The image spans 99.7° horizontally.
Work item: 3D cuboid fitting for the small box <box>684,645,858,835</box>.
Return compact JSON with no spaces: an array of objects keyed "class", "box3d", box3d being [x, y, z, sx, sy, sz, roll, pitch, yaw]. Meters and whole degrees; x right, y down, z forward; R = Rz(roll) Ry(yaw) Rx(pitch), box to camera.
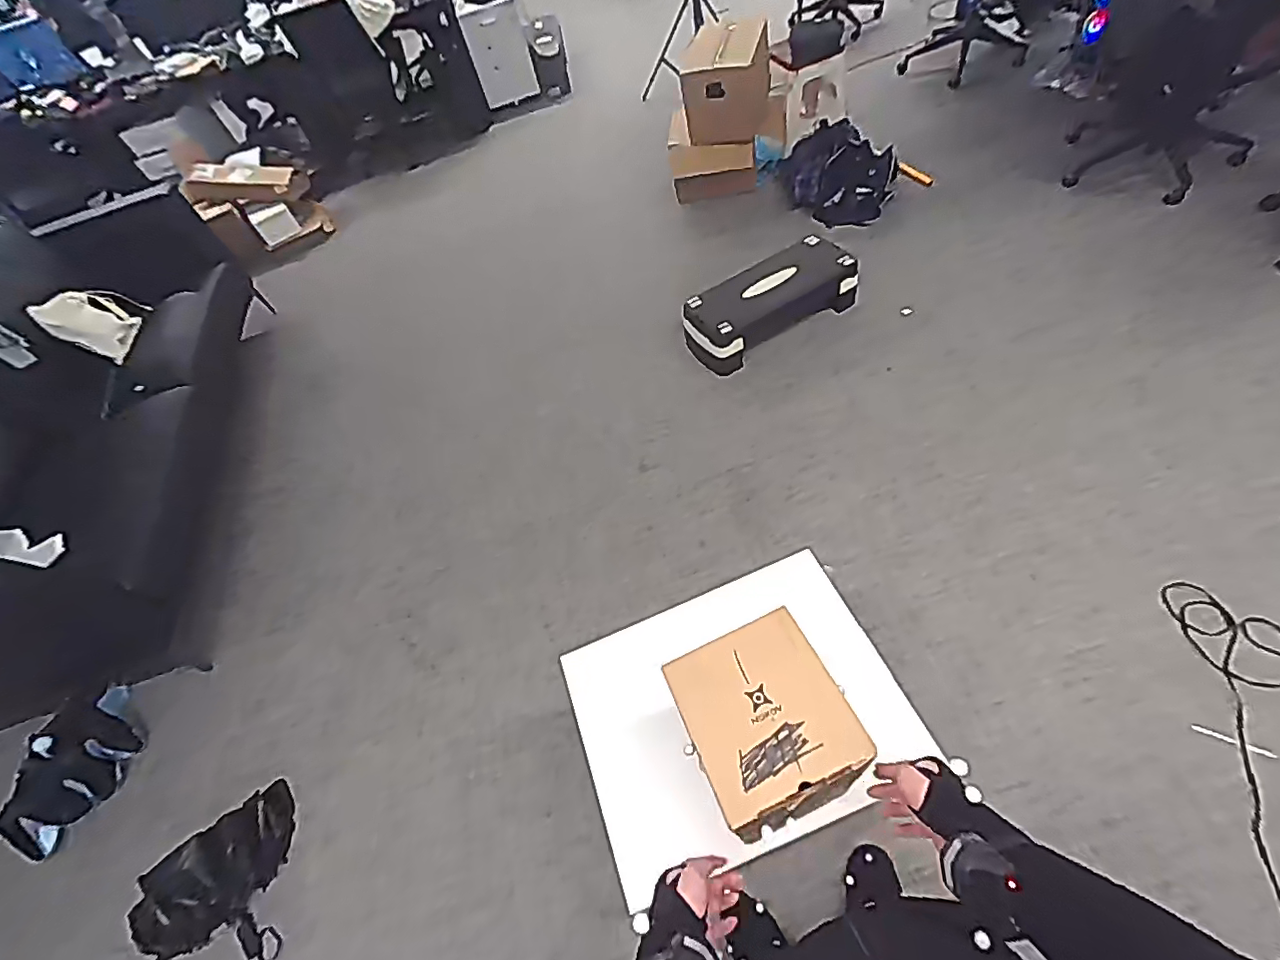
[{"class":"small box","box3d":[0.180,0.374,0.772,0.168,0.176,0.179,-25,51,-5]}]
